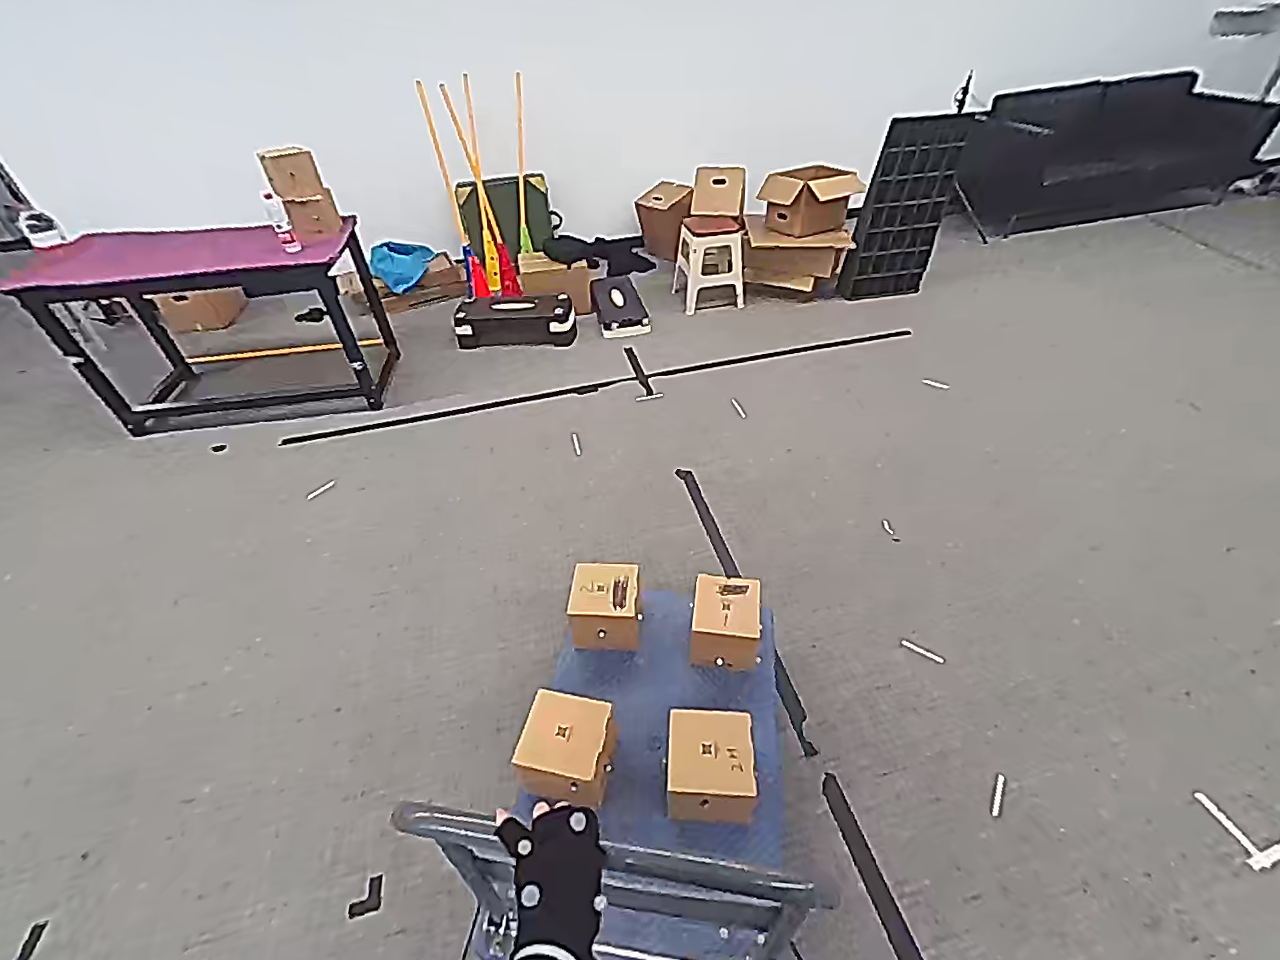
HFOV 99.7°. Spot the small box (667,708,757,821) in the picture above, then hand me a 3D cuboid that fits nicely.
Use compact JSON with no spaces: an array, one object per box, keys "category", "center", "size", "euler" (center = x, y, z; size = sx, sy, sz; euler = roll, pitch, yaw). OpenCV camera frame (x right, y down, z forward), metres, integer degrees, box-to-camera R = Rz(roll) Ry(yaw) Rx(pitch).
[{"category":"small box","center":[0.151,0.611,1.161],"size":[0.179,0.176,0.168],"euler":[1,42,5]}]

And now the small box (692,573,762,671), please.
[{"category":"small box","center":[0.227,0.372,1.422],"size":[0.168,0.176,0.179],"euler":[5,44,9]}]

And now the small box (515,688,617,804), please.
[{"category":"small box","center":[-0.155,0.593,1.201],"size":[0.179,0.176,0.168],"euler":[8,43,9]}]
